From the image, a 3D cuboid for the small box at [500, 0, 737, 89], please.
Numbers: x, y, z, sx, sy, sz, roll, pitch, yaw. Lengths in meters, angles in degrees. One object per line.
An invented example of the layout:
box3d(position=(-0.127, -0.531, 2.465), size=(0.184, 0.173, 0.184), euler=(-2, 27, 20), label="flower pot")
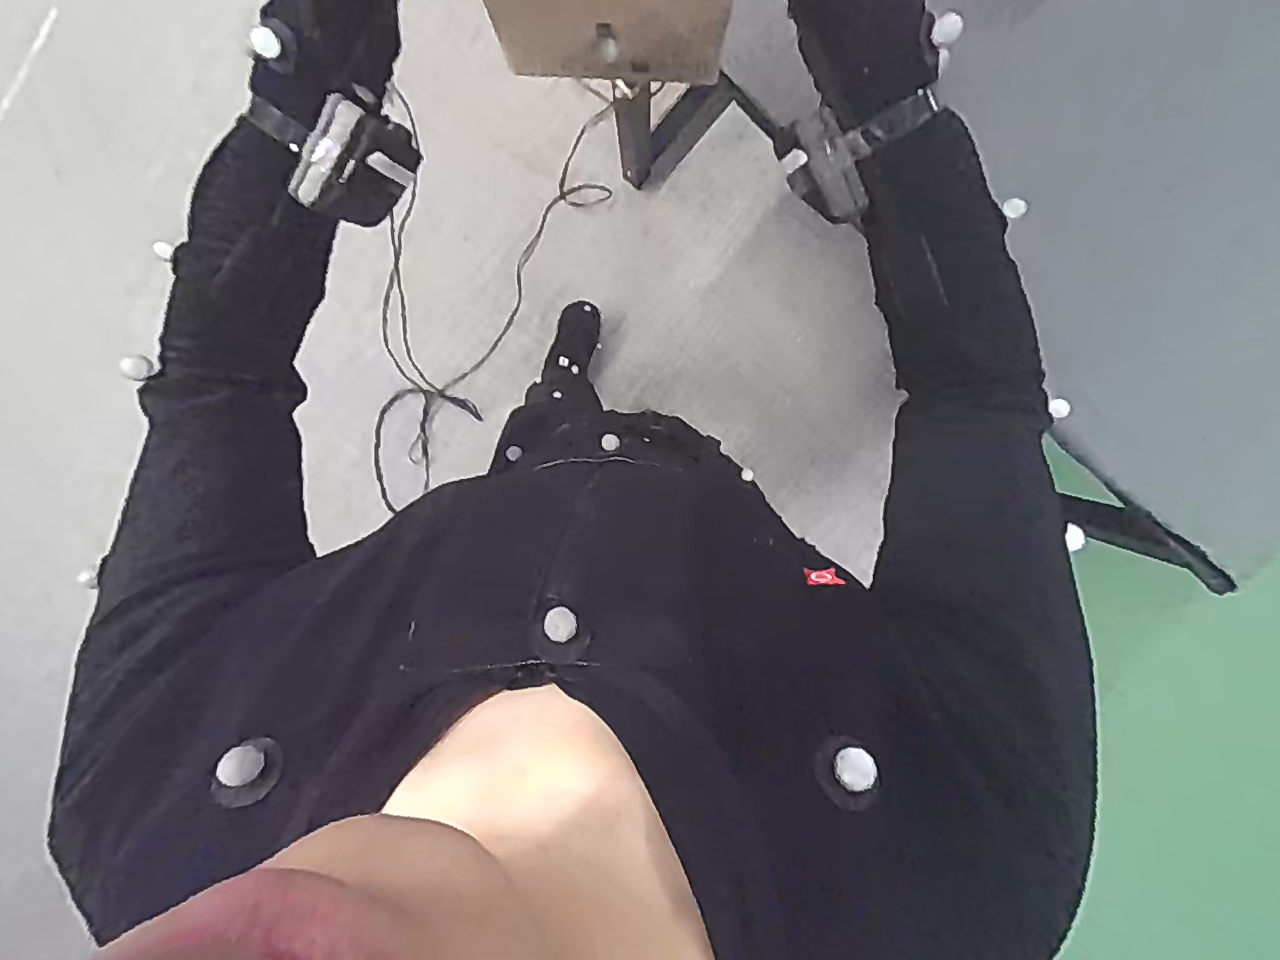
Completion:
box3d(position=(-0.013, -0.399, 0.347), size=(0.168, 0.176, 0.179), euler=(3, 98, -1), label="small box")
